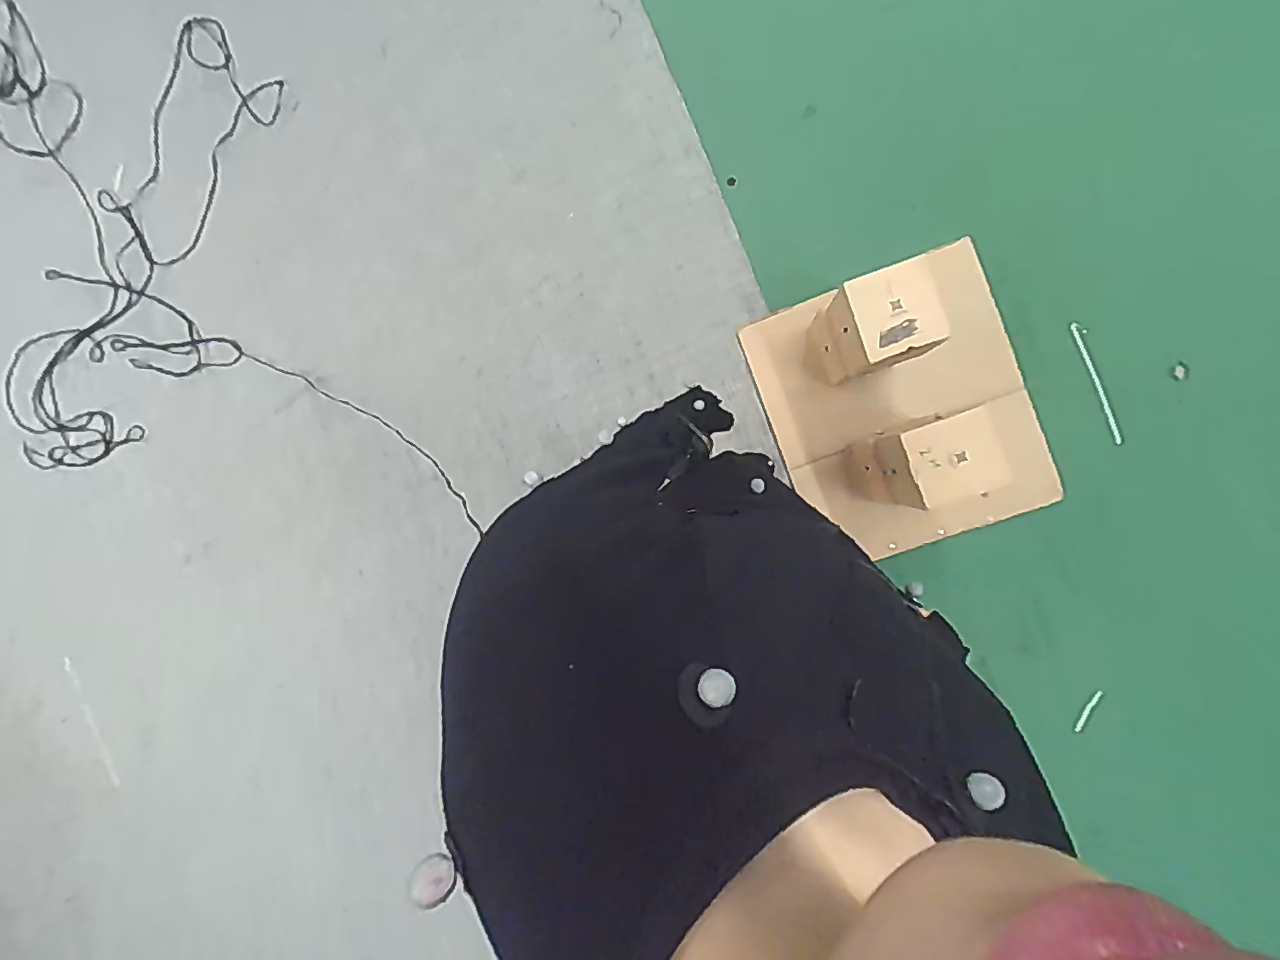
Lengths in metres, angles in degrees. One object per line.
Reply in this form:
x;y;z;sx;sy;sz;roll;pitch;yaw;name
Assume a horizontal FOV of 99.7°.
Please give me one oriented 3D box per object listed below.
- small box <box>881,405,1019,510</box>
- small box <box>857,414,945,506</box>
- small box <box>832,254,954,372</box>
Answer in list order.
0.639;-0.047;1.136;0.179;0.176;0.168;-20;88;9;small box
0.652;-0.049;1.302;0.179;0.176;0.168;-22;89;9;small box
0.523;-0.338;1.140;0.168;0.176;0.179;-17;87;9;small box
